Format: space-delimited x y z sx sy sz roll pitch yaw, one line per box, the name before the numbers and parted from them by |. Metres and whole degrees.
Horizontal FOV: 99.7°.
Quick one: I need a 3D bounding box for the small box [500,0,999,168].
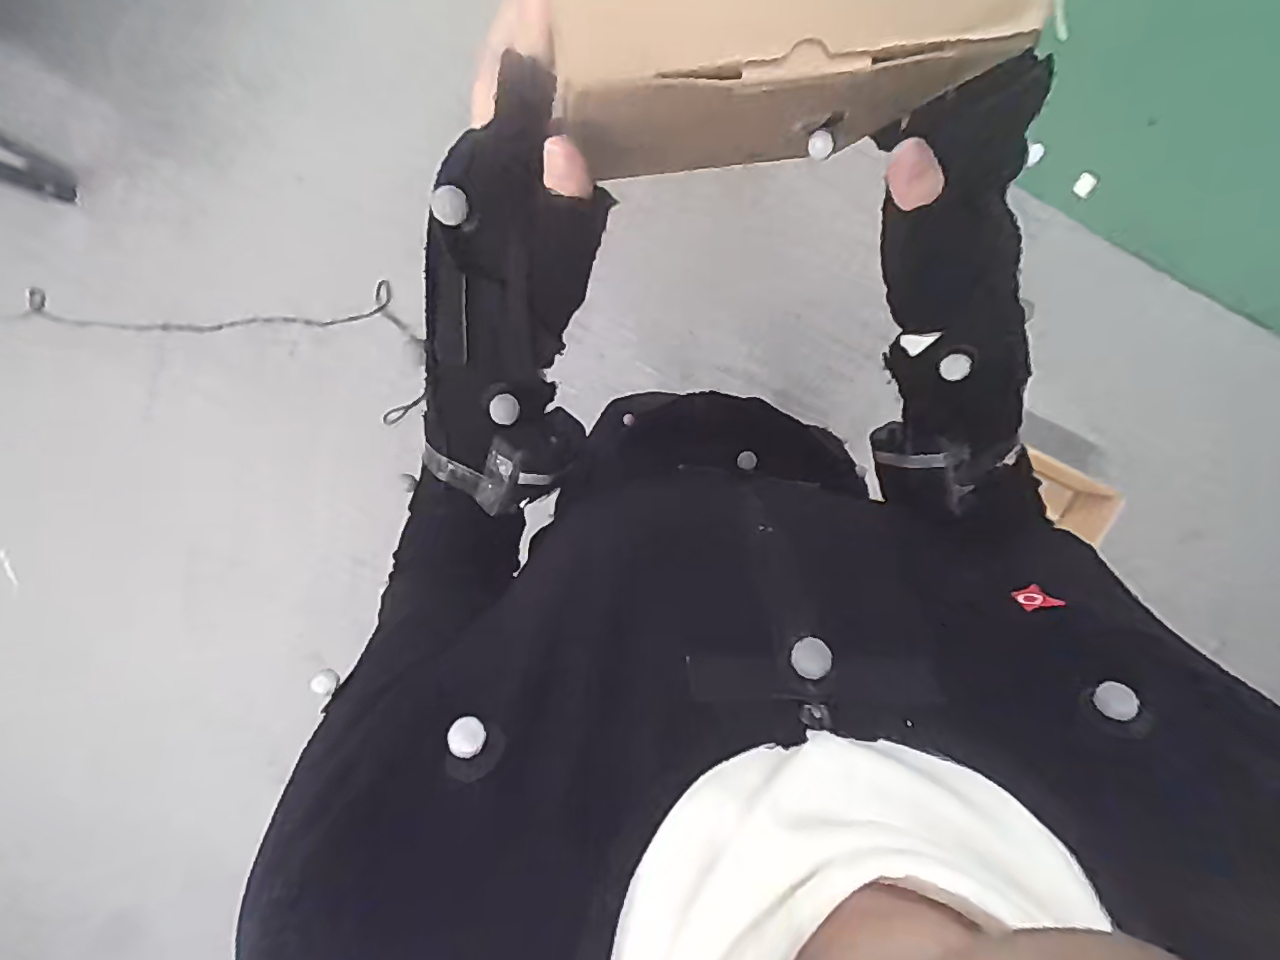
small box | 0.024 -0.246 0.227 0.168 0.176 0.179 -8 109 -3
